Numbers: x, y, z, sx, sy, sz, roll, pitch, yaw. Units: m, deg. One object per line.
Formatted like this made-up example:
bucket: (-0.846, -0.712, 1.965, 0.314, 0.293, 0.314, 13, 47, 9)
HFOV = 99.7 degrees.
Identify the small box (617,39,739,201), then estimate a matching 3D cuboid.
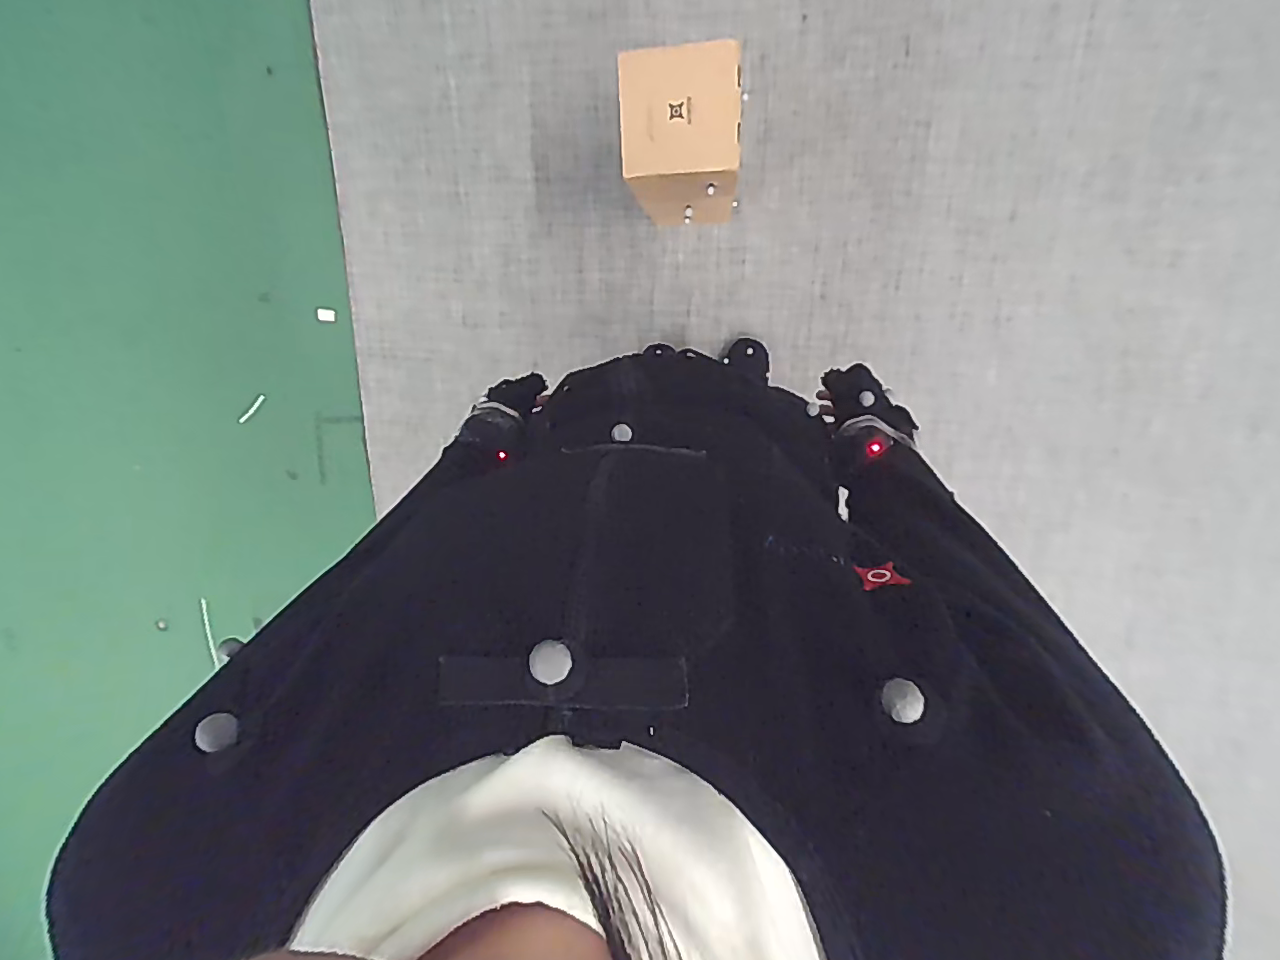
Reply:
small box: (0.066, -0.557, 0.861, 0.179, 0.176, 0.168, 0, 104, 10)

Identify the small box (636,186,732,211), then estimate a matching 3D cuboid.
small box: (0.082, -0.614, 1.013, 0.179, 0.176, 0.168, -1, 105, 8)

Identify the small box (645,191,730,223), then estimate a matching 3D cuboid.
small box: (0.107, -0.661, 1.168, 0.179, 0.176, 0.168, 2, 106, 9)
